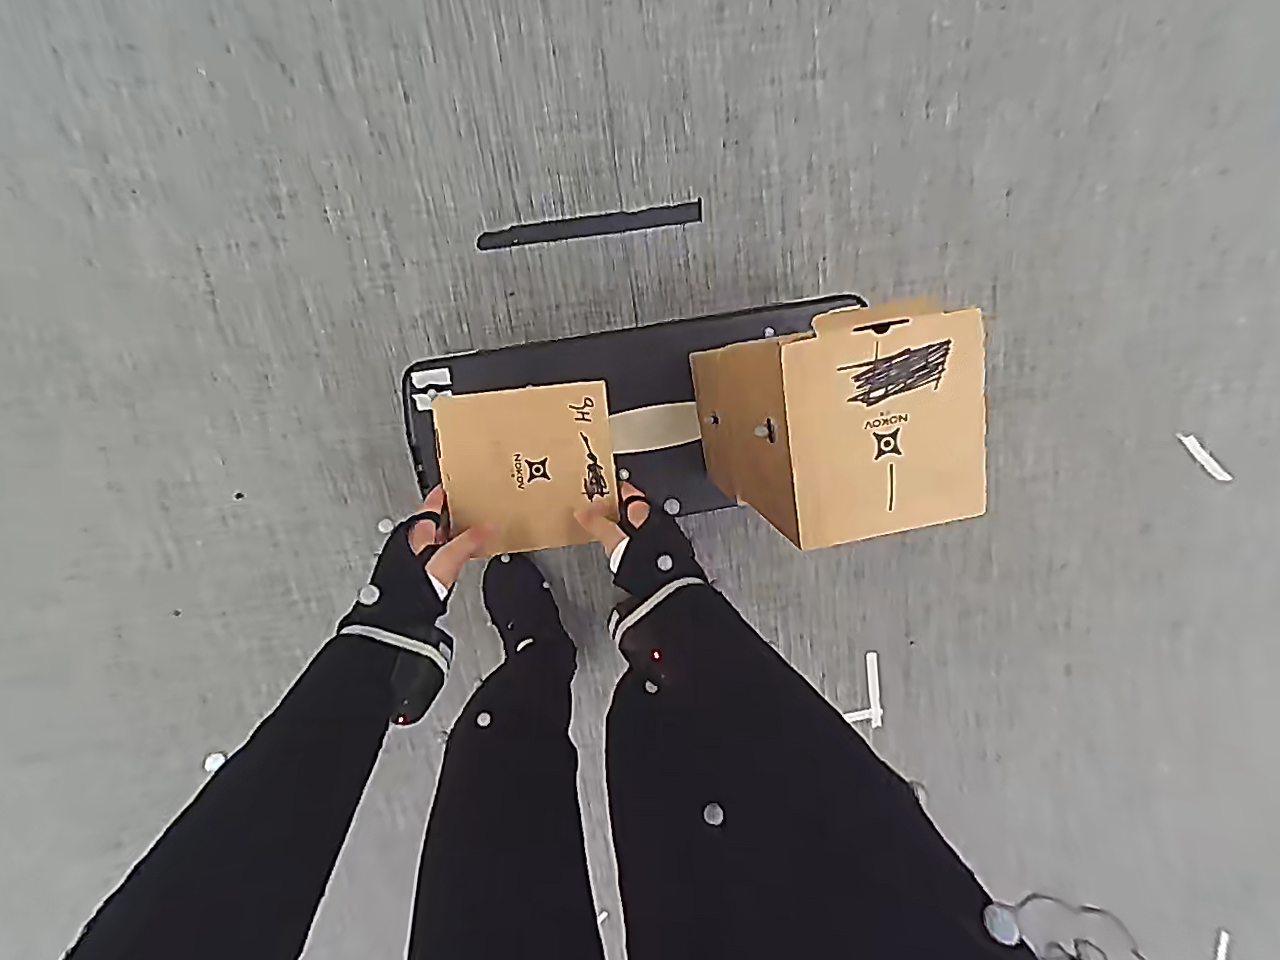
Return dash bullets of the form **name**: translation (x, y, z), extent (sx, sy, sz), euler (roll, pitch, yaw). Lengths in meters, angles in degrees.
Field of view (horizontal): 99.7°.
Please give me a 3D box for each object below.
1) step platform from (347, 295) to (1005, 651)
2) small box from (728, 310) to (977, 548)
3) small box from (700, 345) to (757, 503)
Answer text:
- **step platform**: translation (0.048, -0.020, 0.651), extent (0.684, 0.204, 0.286), euler (-10, 103, -4)
- **small box**: translation (0.191, -0.056, 0.524), extent (0.168, 0.176, 0.179), euler (-11, 104, -2)
- **small box**: translation (0.168, -0.086, 0.684), extent (0.168, 0.176, 0.179), euler (-11, 104, -3)
